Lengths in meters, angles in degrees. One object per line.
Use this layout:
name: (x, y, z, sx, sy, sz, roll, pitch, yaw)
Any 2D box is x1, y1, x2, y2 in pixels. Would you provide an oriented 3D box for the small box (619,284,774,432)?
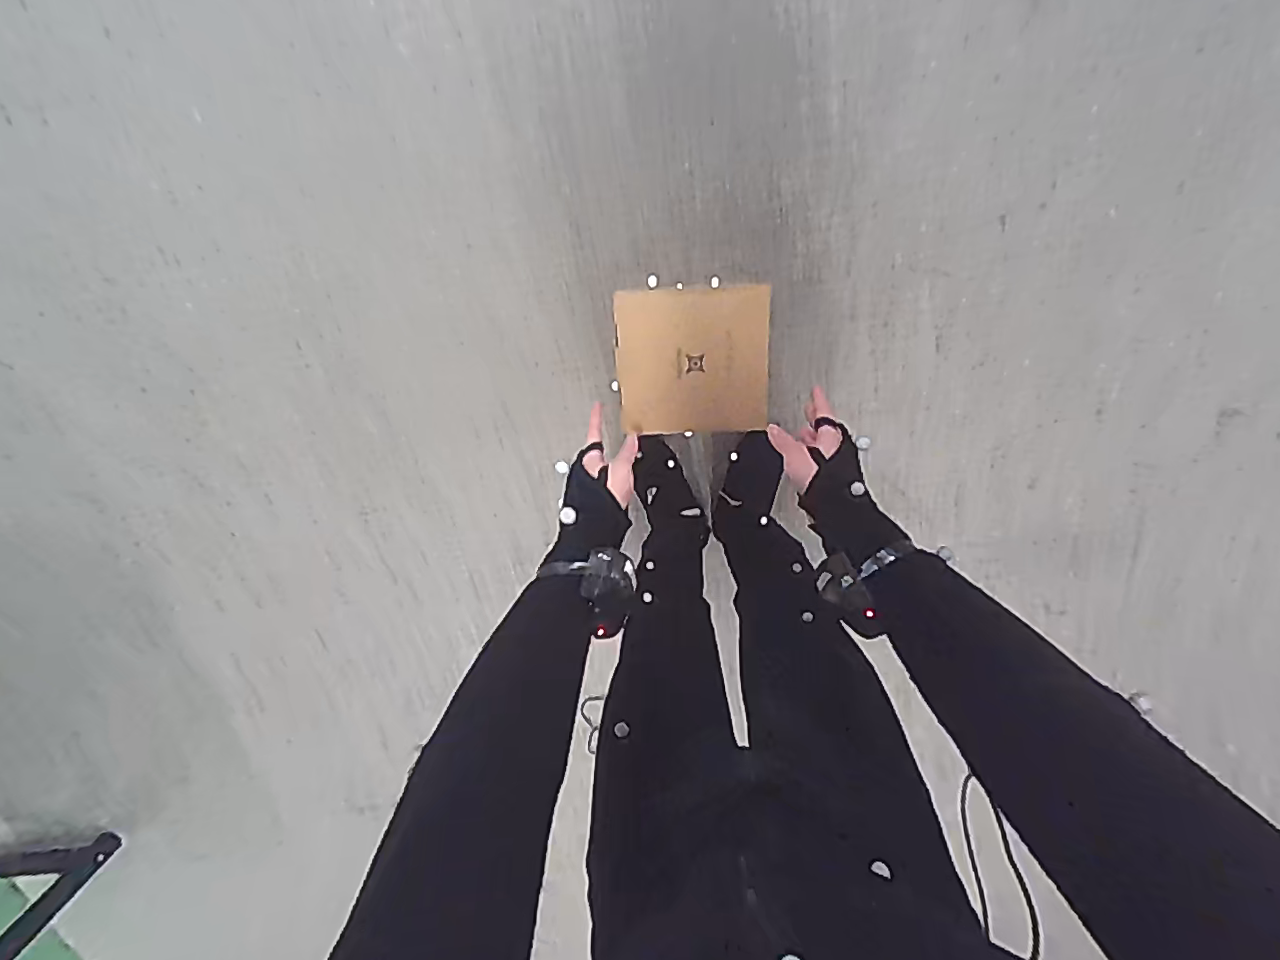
small box: (0.070, -0.164, 0.708, 0.179, 0.176, 0.168, -3, 110, 3)
